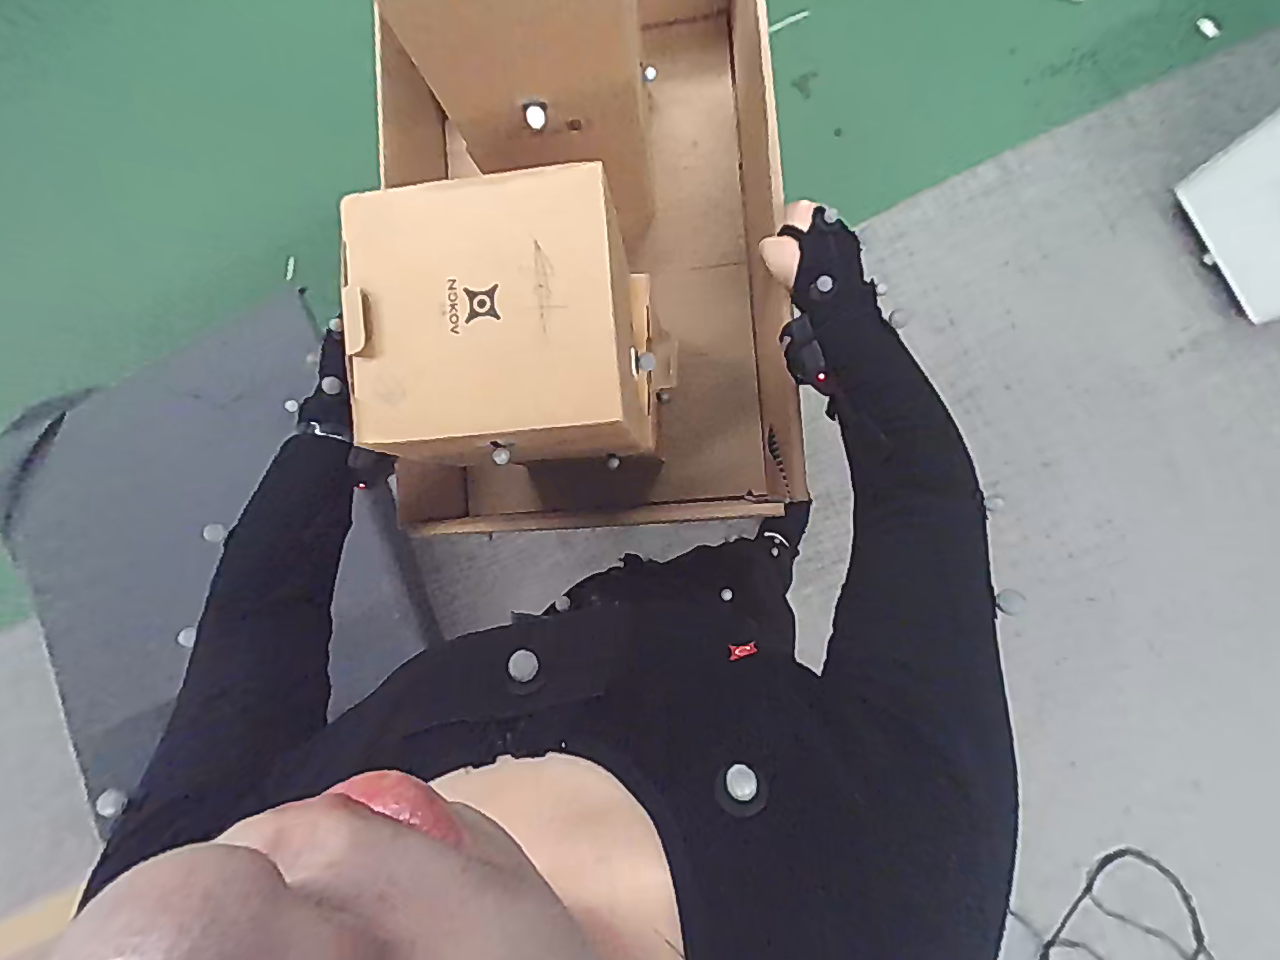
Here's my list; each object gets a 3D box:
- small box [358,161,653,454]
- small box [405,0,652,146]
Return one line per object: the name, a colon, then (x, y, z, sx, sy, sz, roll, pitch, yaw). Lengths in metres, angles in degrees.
small box: (-0.087, -0.112, 0.425, 0.179, 0.176, 0.168, -5, 89, 4)
small box: (-0.079, -0.406, 0.426, 0.168, 0.176, 0.179, -4, 90, 5)
